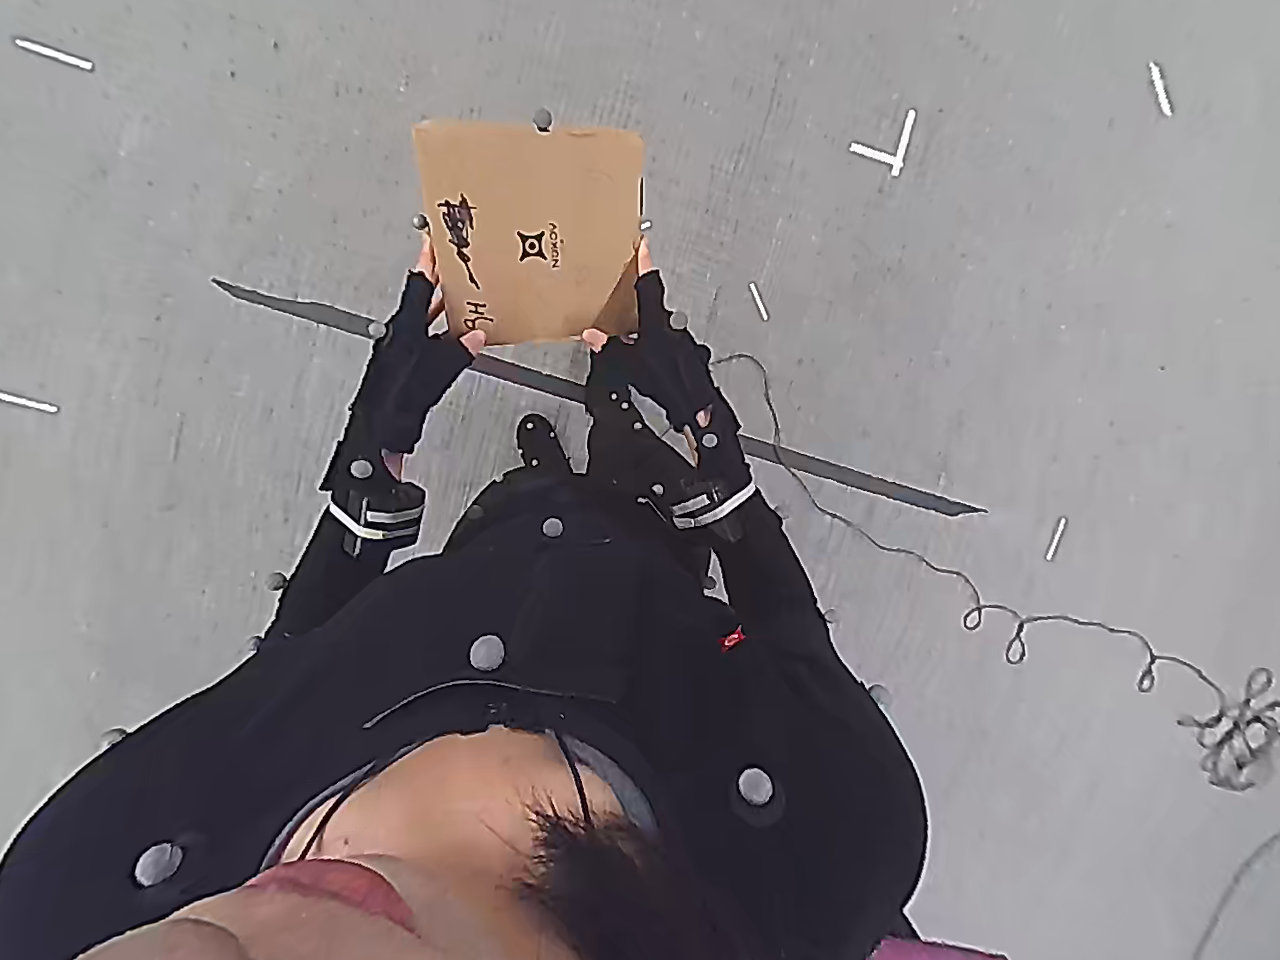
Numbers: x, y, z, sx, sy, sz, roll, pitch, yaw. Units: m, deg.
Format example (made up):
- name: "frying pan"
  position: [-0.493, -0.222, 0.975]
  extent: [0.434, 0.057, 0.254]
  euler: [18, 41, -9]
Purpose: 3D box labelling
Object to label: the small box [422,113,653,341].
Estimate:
- name: "small box"
  position: [-0.099, -0.243, 0.510]
  extent: [0.179, 0.176, 0.168]
  euler: [-8, 125, -14]
